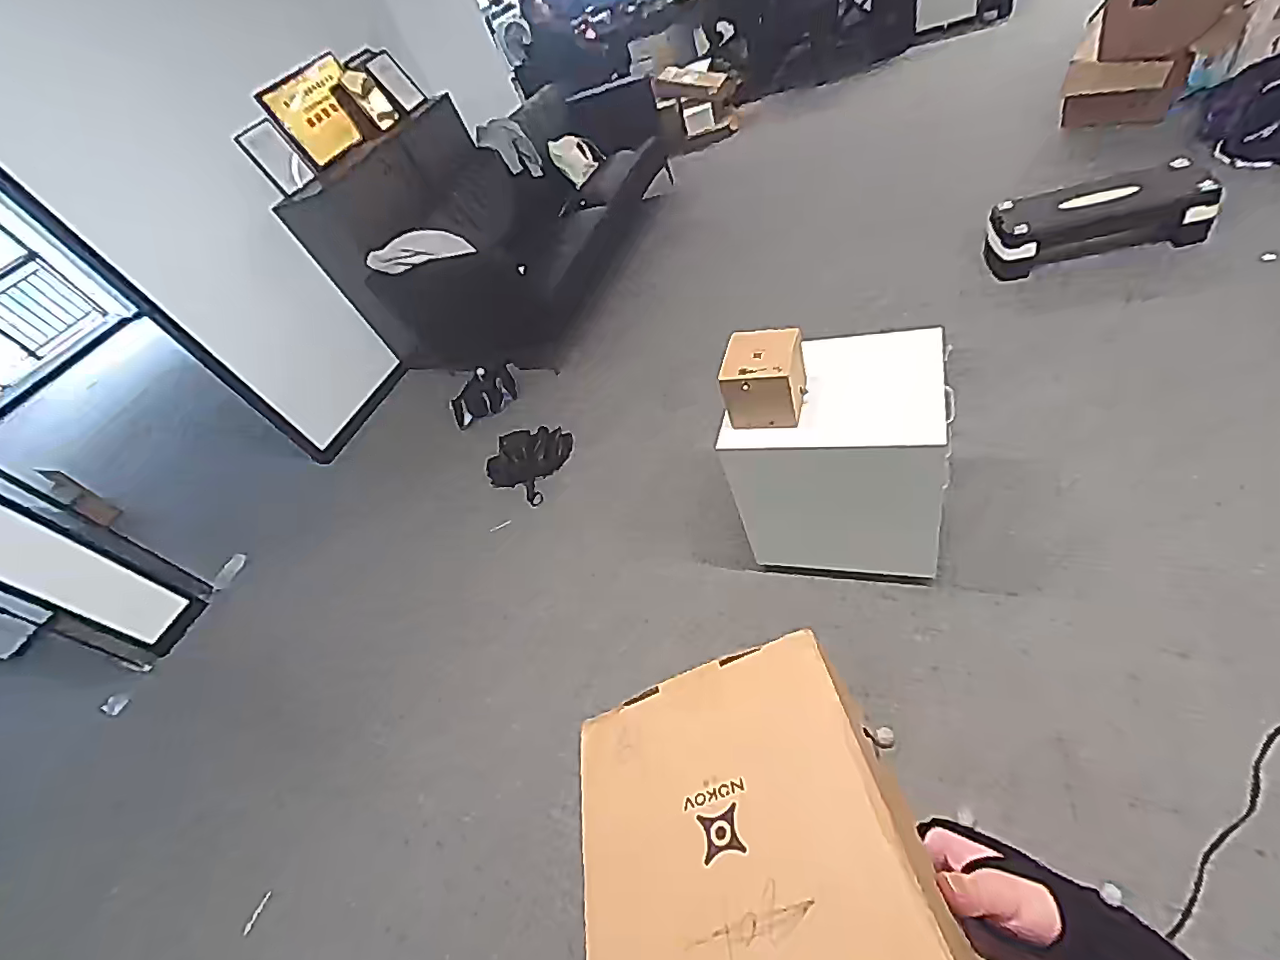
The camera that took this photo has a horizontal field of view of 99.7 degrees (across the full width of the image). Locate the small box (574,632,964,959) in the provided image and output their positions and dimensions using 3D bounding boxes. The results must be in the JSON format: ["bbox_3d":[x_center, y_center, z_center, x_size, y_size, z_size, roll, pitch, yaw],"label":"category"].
[{"bbox_3d":[0.075,0.231,0.327,0.168,0.176,0.179,-27,37,13],"label":"small box"}]

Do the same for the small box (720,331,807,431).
[{"bbox_3d":[0.310,-0.240,1.327,0.168,0.176,0.179,2,51,27],"label":"small box"}]
